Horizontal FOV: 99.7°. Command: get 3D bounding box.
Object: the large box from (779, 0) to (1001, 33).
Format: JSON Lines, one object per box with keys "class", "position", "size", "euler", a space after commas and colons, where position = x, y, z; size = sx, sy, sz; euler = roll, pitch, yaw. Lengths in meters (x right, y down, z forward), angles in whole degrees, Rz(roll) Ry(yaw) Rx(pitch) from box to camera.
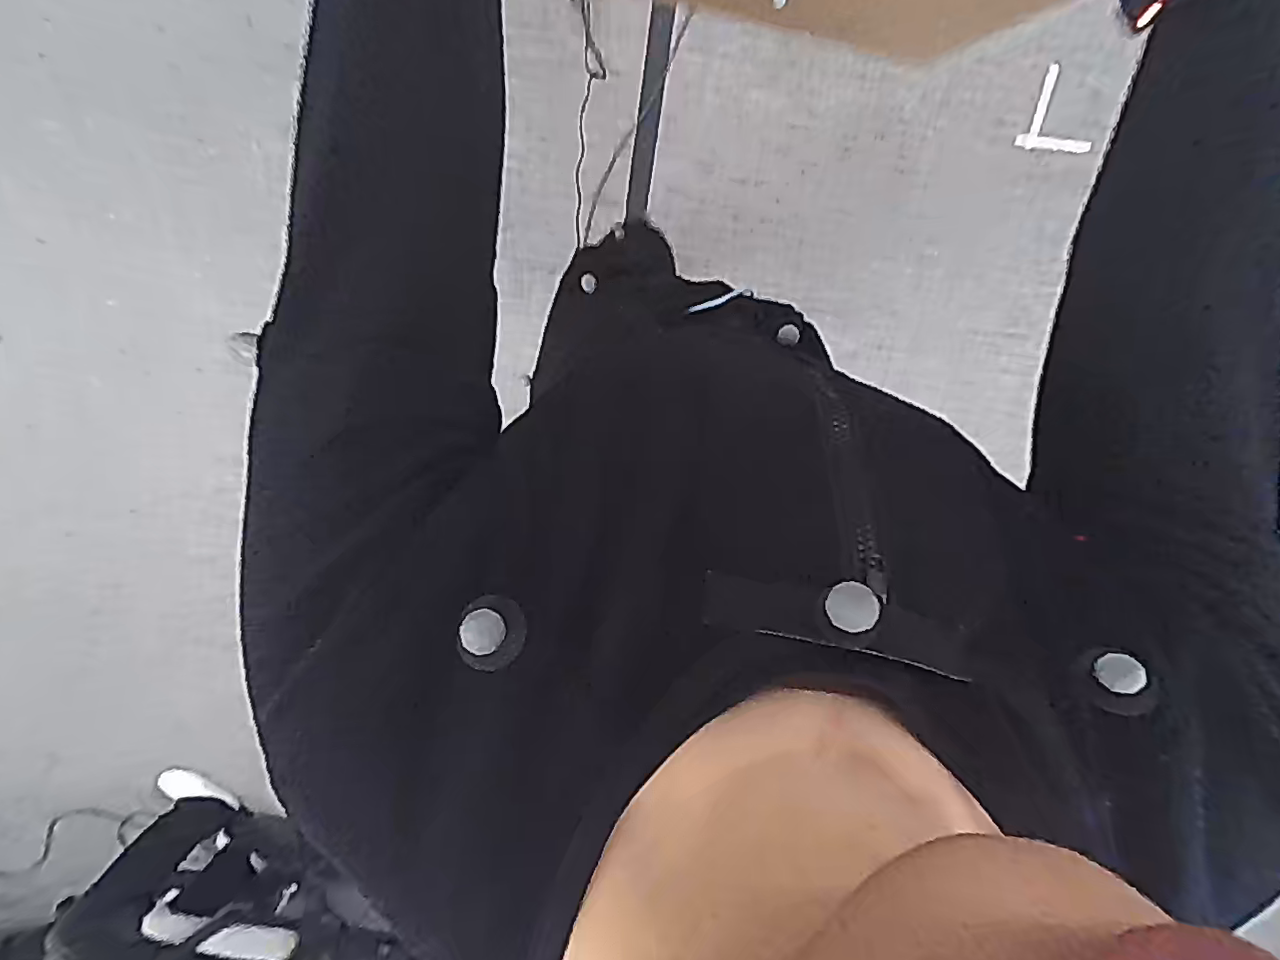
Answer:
{"class": "large box", "position": [0.153, -0.570, 0.372], "size": [0.408, 0.320, 0.320], "euler": [10, 117, -5]}
